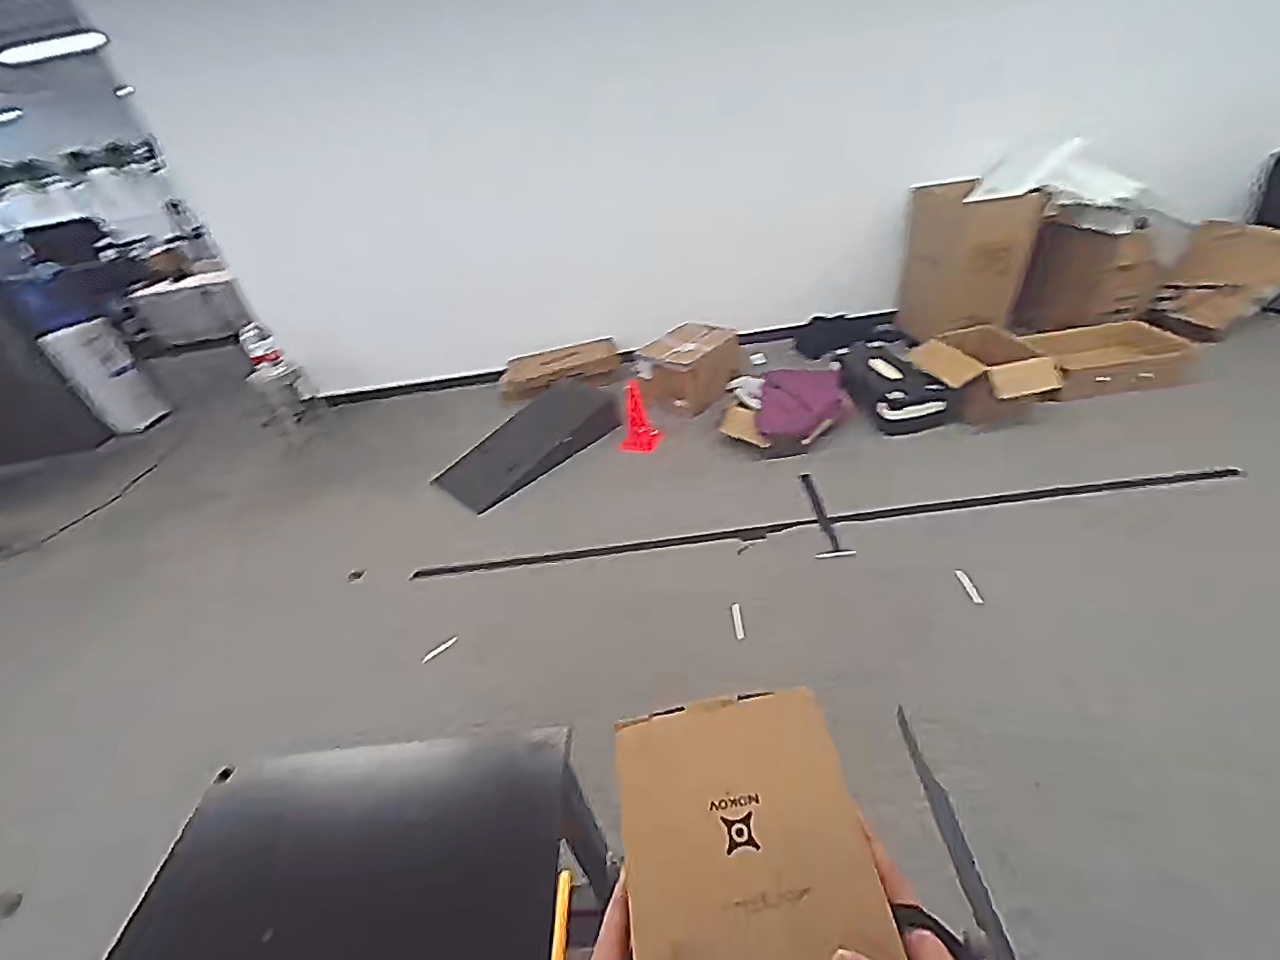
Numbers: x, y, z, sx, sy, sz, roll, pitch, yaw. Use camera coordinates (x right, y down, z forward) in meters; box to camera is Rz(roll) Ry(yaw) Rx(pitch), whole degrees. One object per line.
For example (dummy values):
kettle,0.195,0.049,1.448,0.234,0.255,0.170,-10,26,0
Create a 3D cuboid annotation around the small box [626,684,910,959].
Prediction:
small box,0.088,0.295,0.440,0.168,0.176,0.179,-11,47,4
